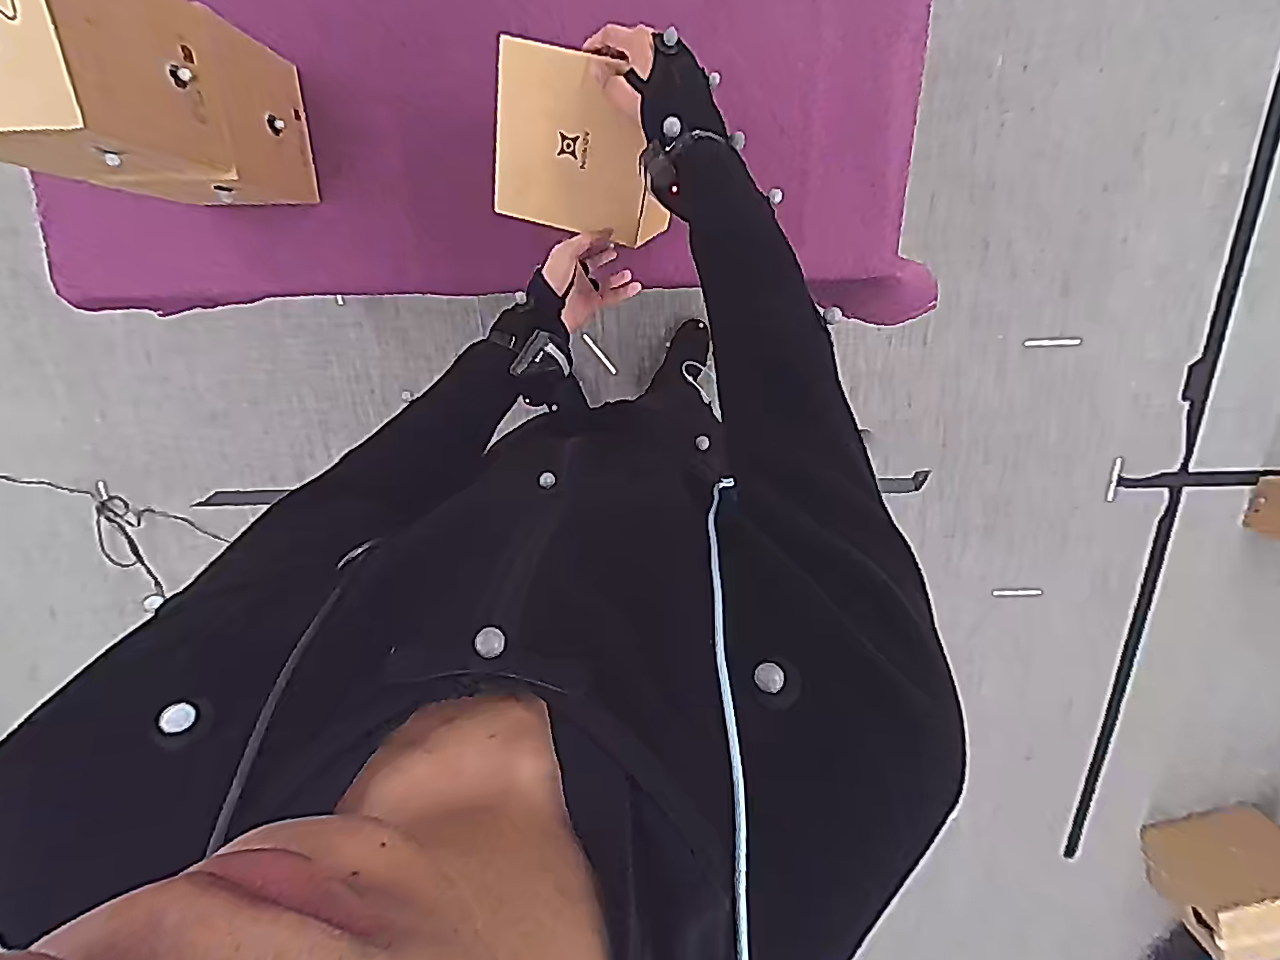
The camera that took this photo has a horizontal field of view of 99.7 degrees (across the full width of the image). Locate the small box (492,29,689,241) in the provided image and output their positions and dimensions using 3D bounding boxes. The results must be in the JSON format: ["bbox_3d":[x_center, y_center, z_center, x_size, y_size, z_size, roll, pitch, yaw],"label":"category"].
[{"bbox_3d":[-0.054,-0.395,0.636,0.179,0.176,0.168,16,123,5],"label":"small box"}]

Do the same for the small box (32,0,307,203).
[{"bbox_3d":[-0.536,-0.440,0.654,0.179,0.176,0.168,0,109,0],"label":"small box"}]
